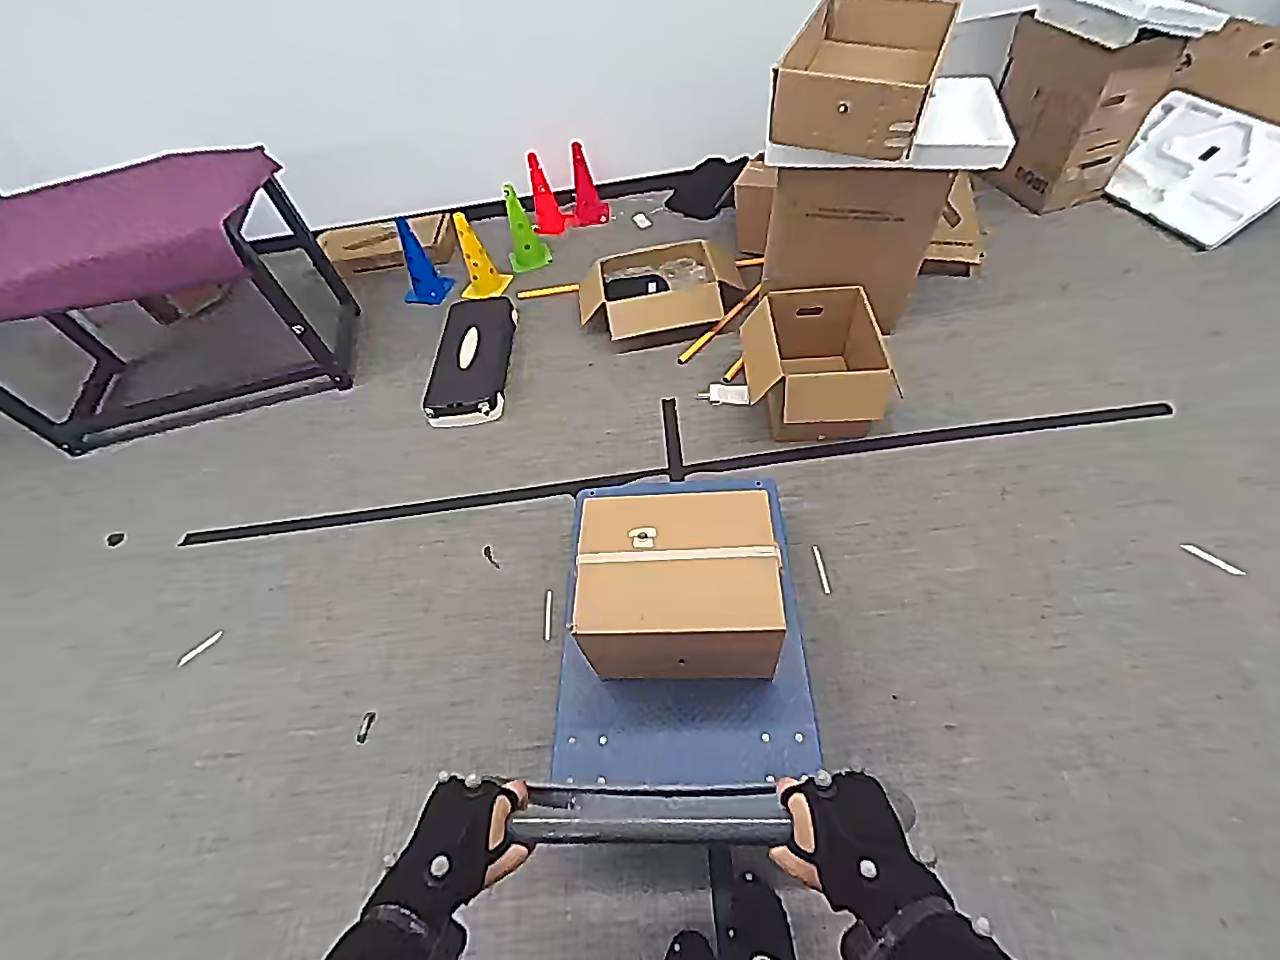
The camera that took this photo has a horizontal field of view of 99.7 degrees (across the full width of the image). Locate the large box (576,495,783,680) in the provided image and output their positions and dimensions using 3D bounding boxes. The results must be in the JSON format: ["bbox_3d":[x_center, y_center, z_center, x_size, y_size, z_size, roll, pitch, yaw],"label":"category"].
[{"bbox_3d":[0.092,0.257,1.239,0.408,0.320,0.320,-4,53,7],"label":"large box"}]
